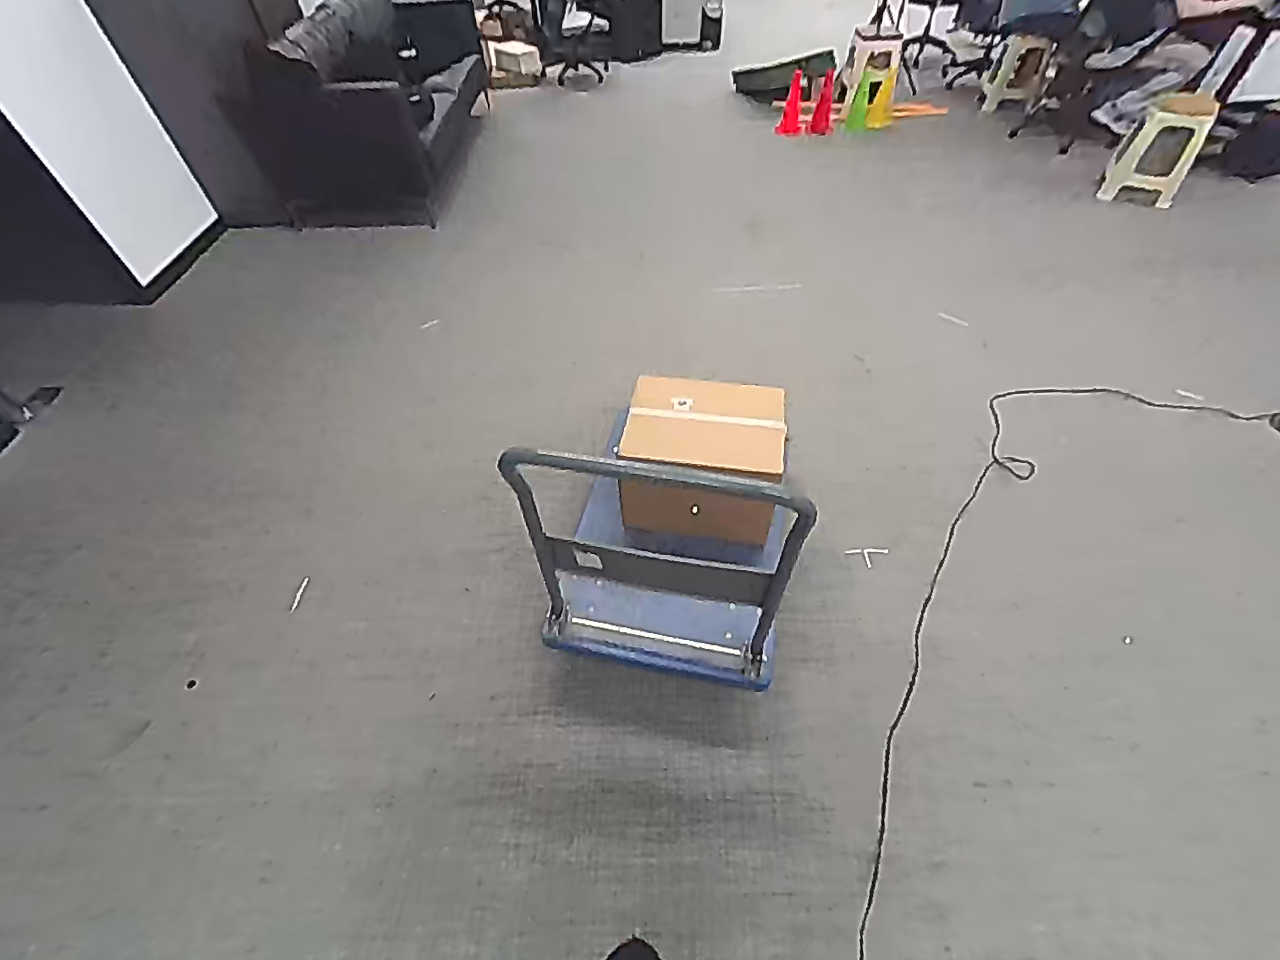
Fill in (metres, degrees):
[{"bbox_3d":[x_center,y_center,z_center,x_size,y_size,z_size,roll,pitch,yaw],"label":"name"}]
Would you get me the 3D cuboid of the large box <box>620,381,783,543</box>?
[{"bbox_3d":[0.177,-0.050,1.517,0.408,0.320,0.320,7,49,9],"label":"large box"}]
